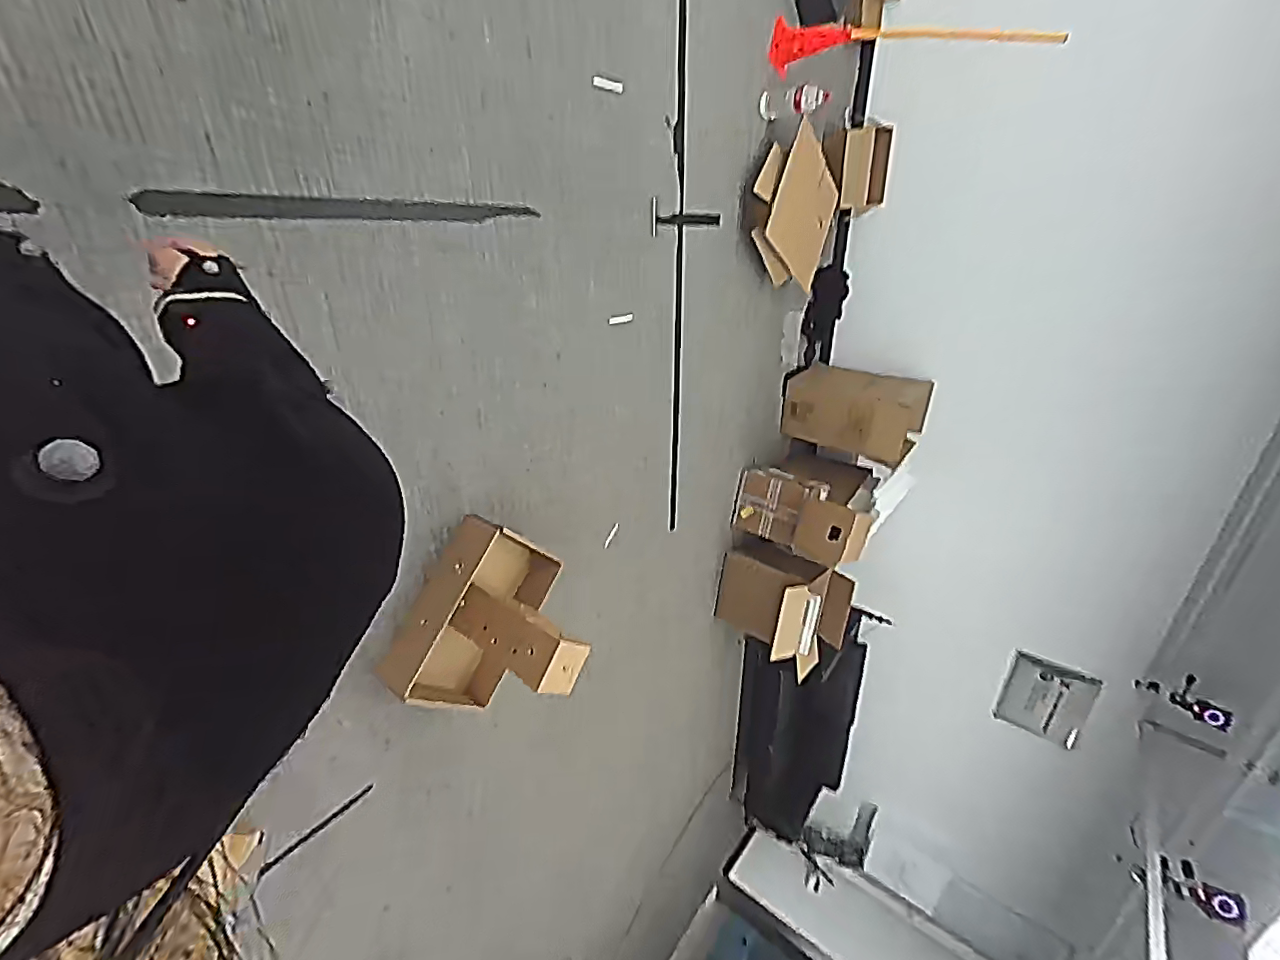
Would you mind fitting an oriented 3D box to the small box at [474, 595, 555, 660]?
[{"bbox_3d":[-0.433,0.508,1.848,0.179,0.176,0.168,37,77,-56],"label":"small box"}]

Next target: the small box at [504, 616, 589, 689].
[{"bbox_3d":[-0.306,0.558,1.754,0.179,0.176,0.168,36,78,-54],"label":"small box"}]

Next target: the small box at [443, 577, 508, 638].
[{"bbox_3d":[-0.563,0.467,1.936,0.168,0.176,0.179,-63,145,-12],"label":"small box"}]

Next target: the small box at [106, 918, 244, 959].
[{"bbox_3d":[-0.867,0.930,0.968,0.179,0.176,0.168,-61,144,-16],"label":"small box"}]
